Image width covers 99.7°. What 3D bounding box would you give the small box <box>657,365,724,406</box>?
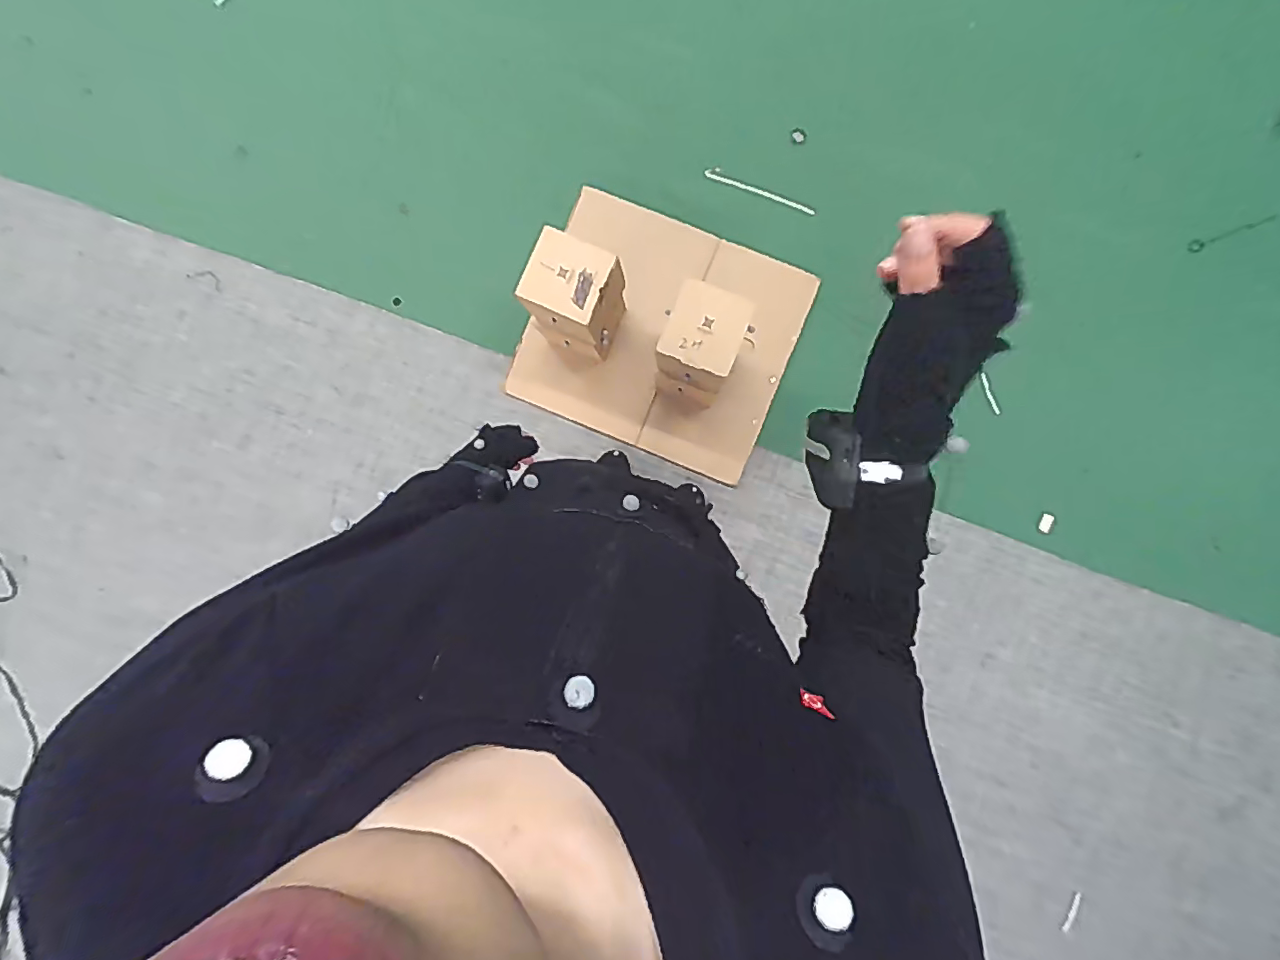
[{"bbox_3d":[0.147,-0.305,1.379,0.168,0.176,0.179,20,91,2],"label":"small box"}]

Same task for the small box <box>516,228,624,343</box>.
[{"bbox_3d":[-0.148,-0.427,1.224,0.179,0.176,0.168,25,91,5],"label":"small box"}]

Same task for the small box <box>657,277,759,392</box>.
[{"bbox_3d":[0.145,-0.317,1.213,0.168,0.176,0.179,23,91,3],"label":"small box"}]
